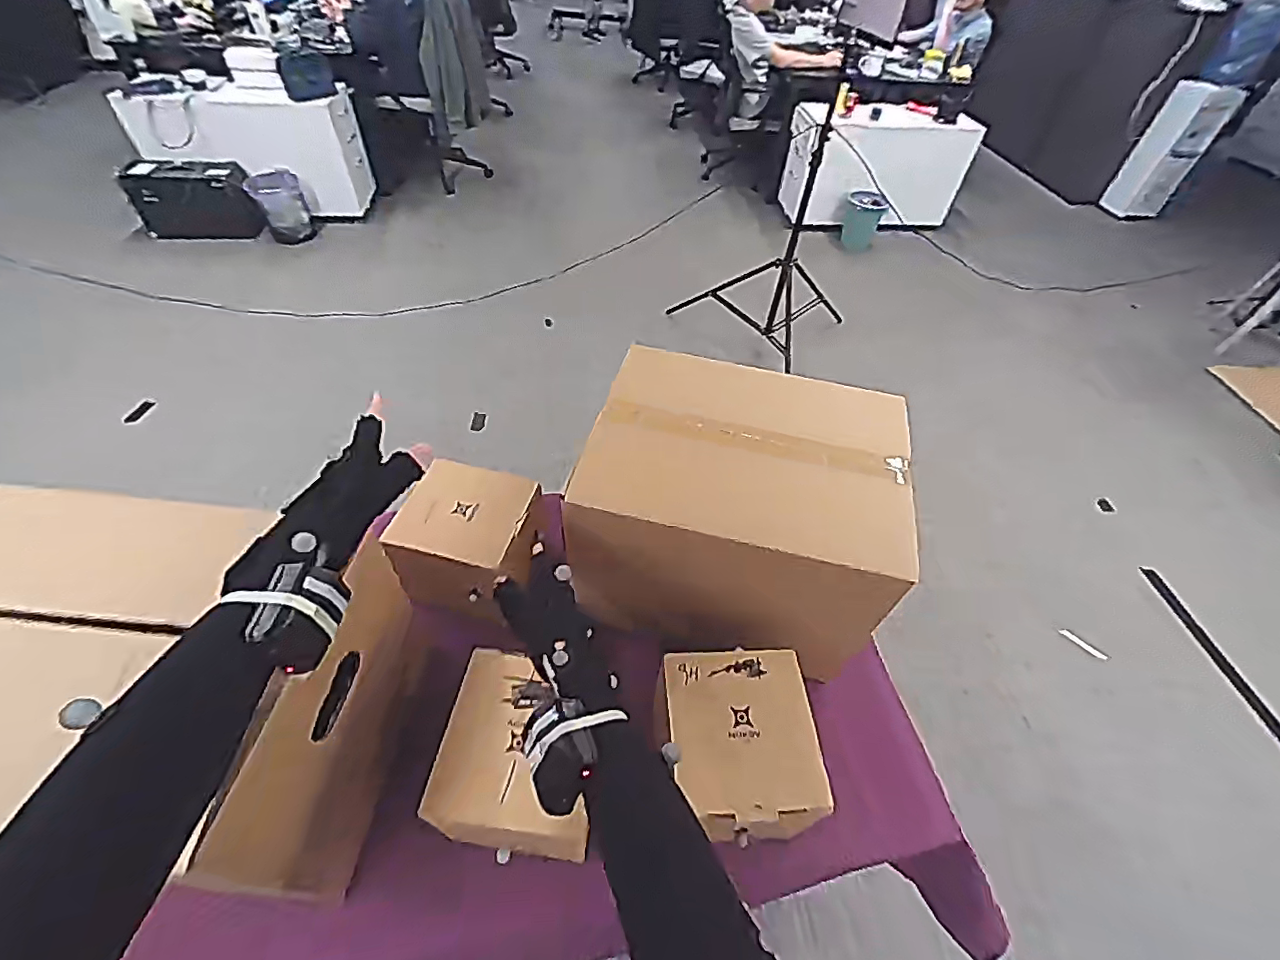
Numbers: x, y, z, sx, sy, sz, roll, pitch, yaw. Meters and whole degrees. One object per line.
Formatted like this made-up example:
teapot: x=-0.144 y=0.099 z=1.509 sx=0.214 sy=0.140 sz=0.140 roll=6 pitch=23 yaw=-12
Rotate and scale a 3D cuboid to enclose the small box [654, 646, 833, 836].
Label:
small box: x=0.109 y=0.321 z=0.659 sx=0.168 sy=0.176 sz=0.179 roll=0 pitch=49 yaw=-5
